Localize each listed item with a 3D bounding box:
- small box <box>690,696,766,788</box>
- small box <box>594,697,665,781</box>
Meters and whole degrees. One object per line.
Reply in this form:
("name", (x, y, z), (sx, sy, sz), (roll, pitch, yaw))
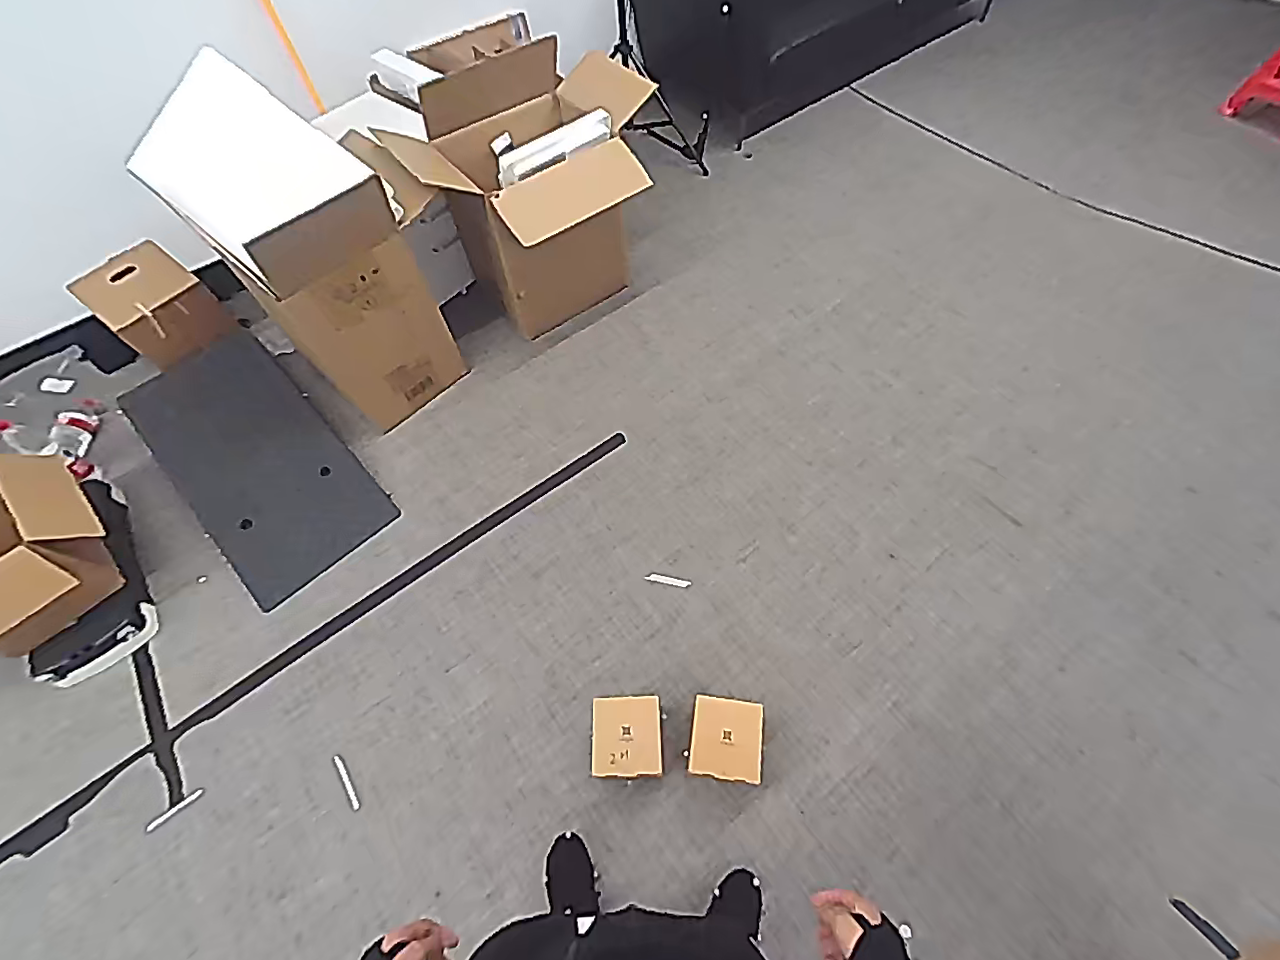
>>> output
("small box", (0.215, 0.654, 1.346), (0.168, 0.176, 0.179), (6, 61, 7))
("small box", (-0.023, 0.653, 1.359), (0.168, 0.176, 0.179), (-3, 59, 3))
